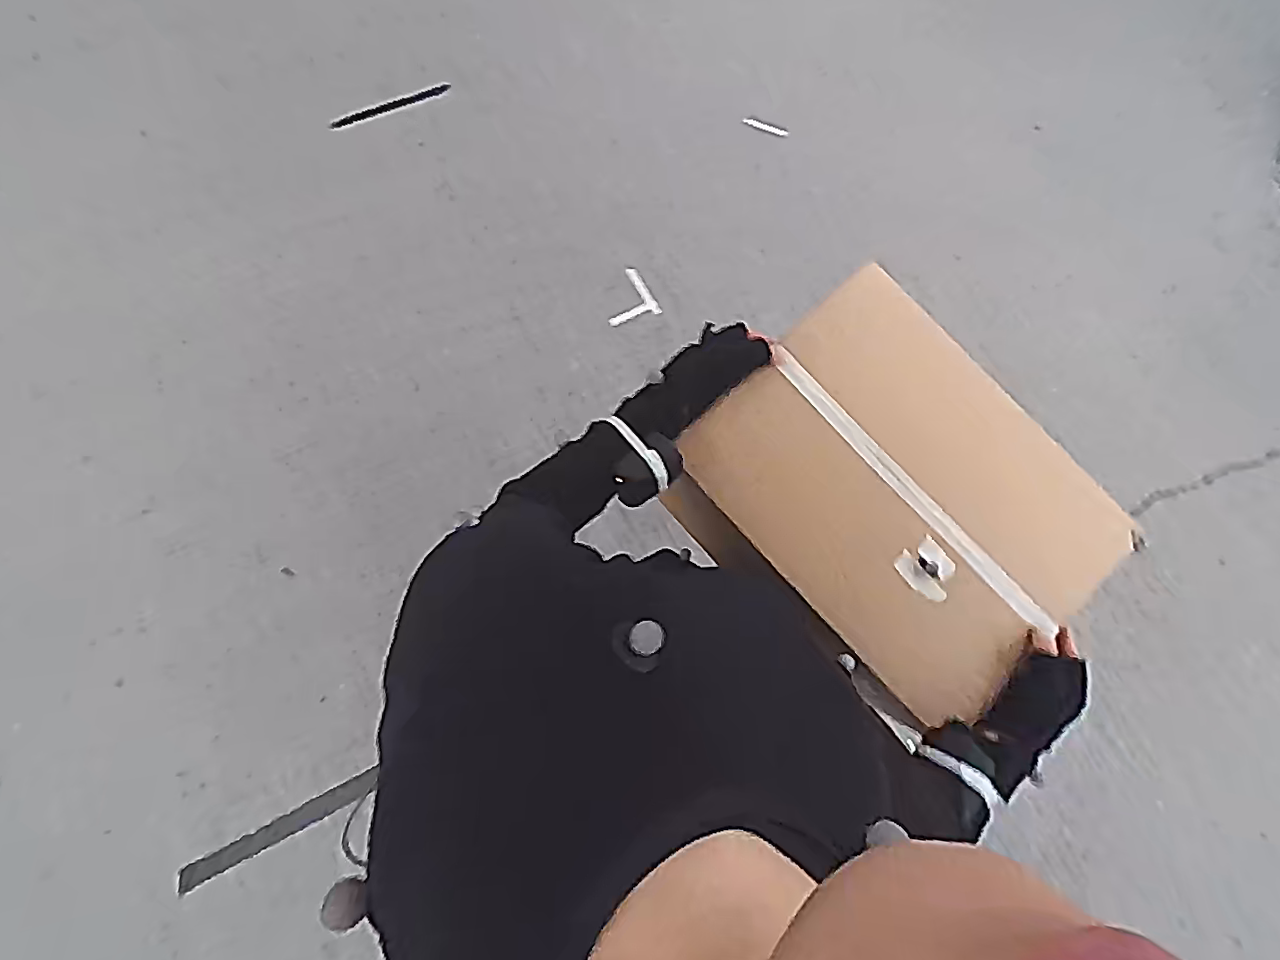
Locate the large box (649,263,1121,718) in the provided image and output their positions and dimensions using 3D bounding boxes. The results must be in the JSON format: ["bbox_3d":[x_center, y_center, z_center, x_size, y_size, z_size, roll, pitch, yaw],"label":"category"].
[{"bbox_3d":[0.265,0.016,0.718,0.320,0.320,0.408,-43,88,-6],"label":"large box"}]
